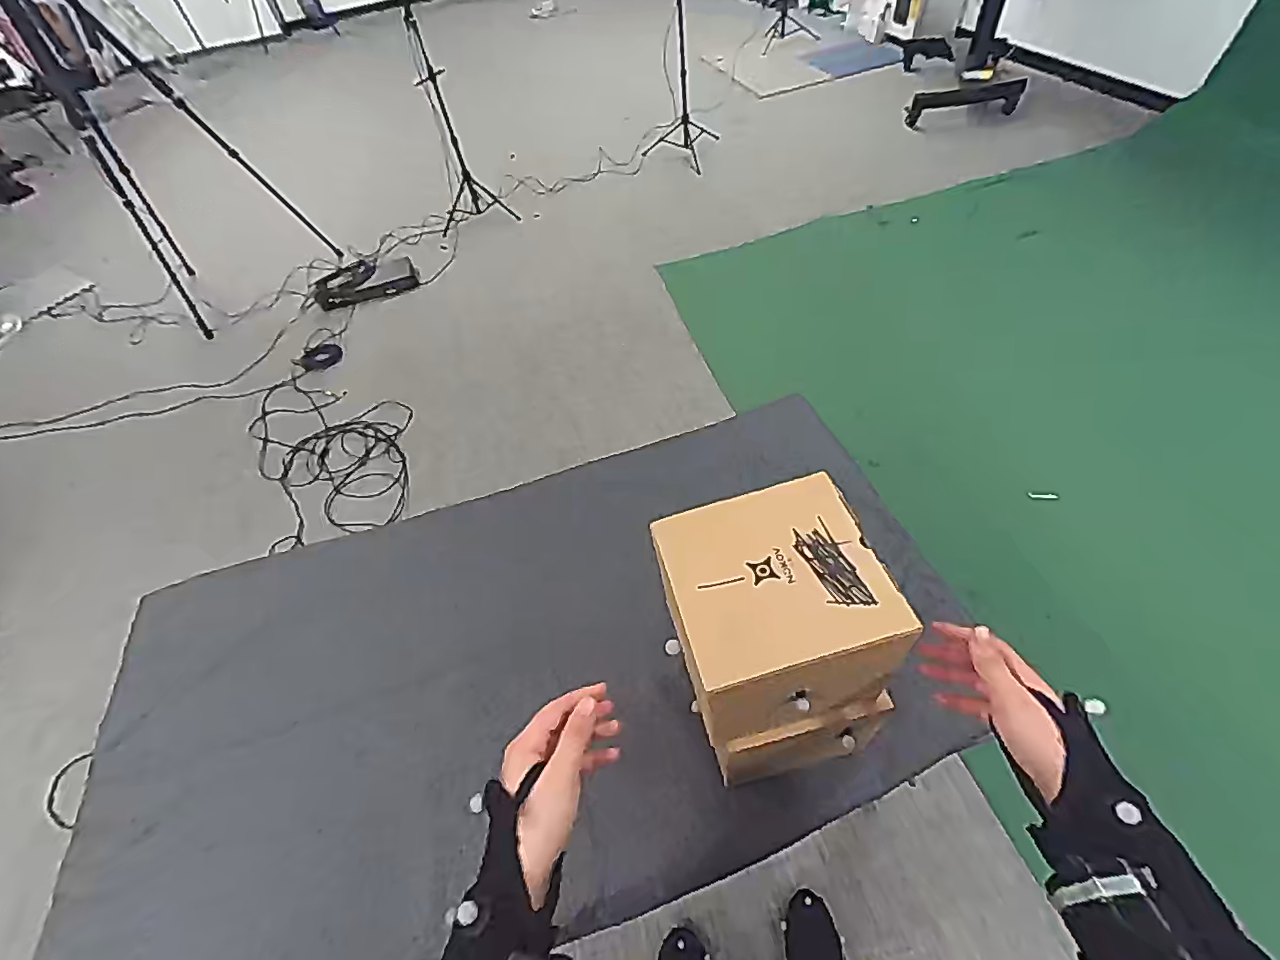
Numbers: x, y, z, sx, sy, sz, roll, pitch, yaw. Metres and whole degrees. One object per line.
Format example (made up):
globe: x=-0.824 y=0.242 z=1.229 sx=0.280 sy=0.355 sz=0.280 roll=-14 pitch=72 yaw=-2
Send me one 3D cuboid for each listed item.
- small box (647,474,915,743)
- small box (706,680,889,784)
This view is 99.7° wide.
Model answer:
small box: x=0.116 y=0.125 z=0.511 sx=0.179 sy=0.176 sz=0.168 roll=-16 pitch=50 yaw=-3
small box: x=0.152 y=0.233 z=0.631 sx=0.179 sy=0.176 sz=0.168 roll=-14 pitch=50 yaw=-2
